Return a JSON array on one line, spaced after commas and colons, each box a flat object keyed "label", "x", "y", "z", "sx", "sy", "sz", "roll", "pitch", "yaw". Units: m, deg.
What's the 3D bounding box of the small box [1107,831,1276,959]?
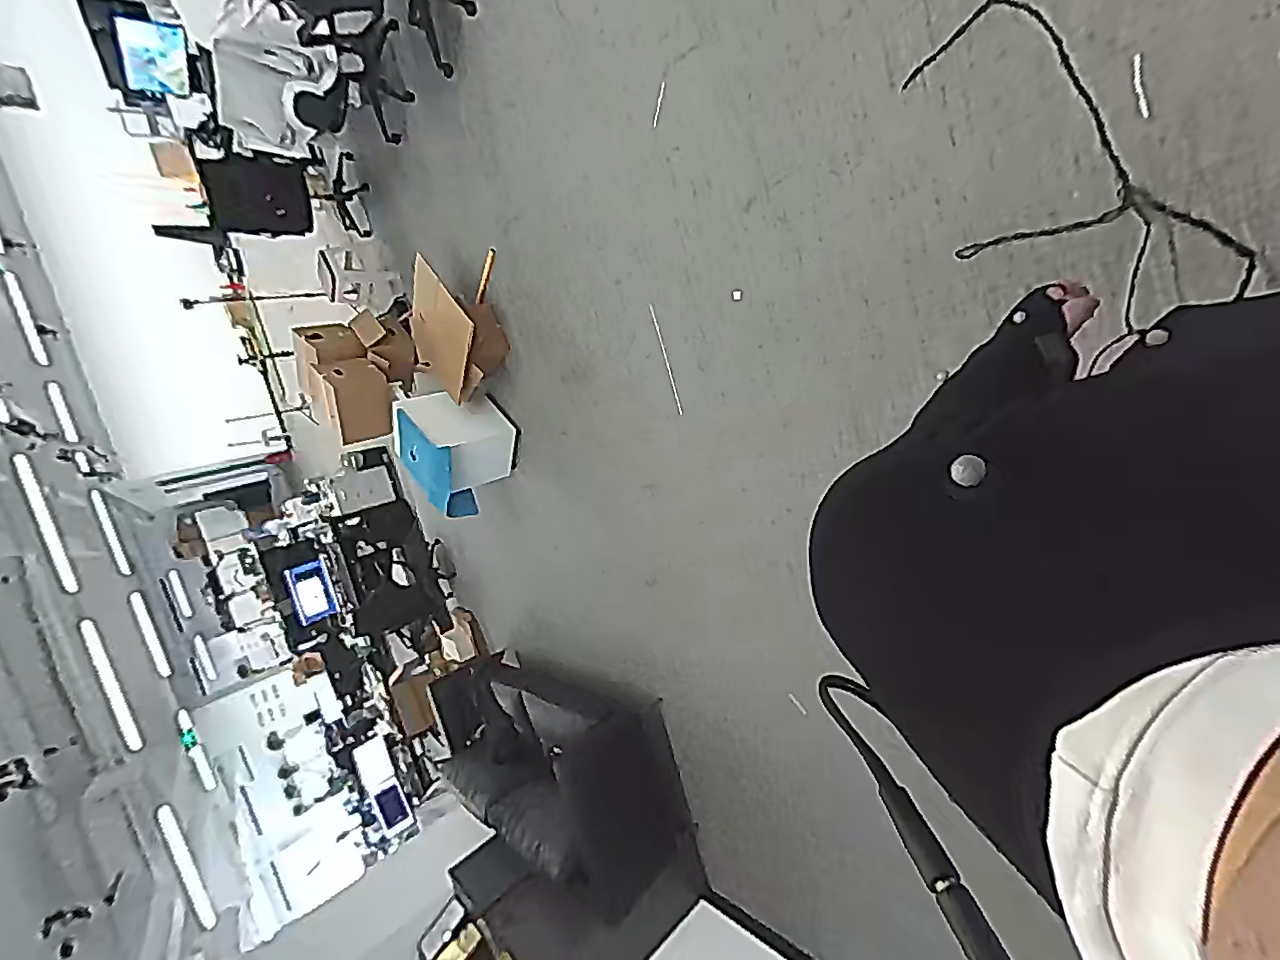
[{"label": "small box", "x": 0.857, "y": 0.699, "z": 0.840, "sx": 0.168, "sy": 0.176, "sz": 0.179, "roll": -5, "pitch": 101, "yaw": 52}]

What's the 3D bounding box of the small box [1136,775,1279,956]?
[{"label": "small box", "x": 0.986, "y": 0.662, "z": 0.936, "sx": 0.168, "sy": 0.176, "sz": 0.179, "roll": 2, "pitch": 106, "yaw": 50}]
